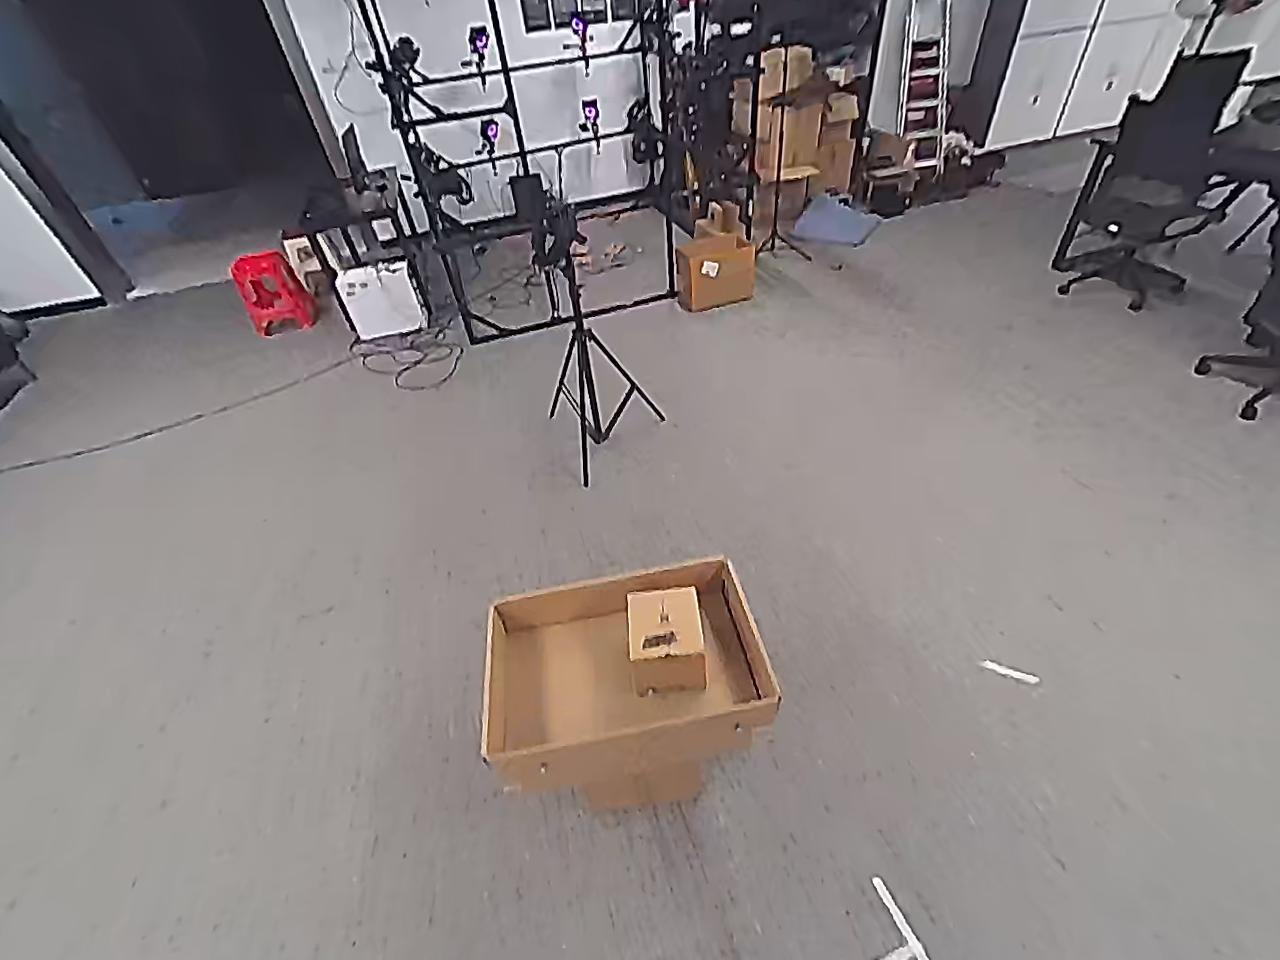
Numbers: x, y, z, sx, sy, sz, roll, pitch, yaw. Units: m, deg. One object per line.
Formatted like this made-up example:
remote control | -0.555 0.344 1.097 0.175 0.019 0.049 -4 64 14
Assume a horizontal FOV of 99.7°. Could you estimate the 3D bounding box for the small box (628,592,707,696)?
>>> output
small box | 0.064 0.392 1.271 0.168 0.176 0.179 -7 41 2
